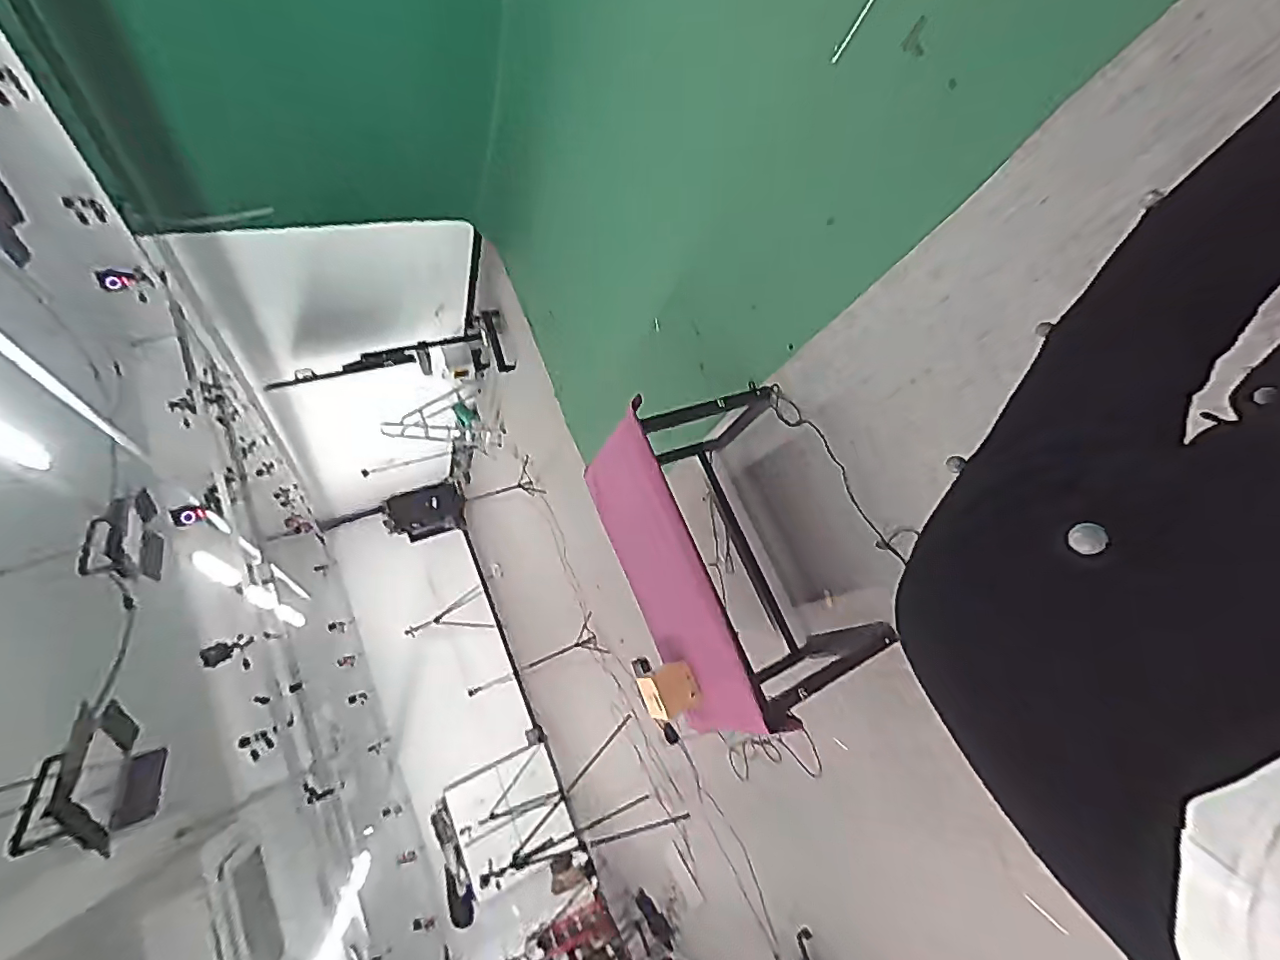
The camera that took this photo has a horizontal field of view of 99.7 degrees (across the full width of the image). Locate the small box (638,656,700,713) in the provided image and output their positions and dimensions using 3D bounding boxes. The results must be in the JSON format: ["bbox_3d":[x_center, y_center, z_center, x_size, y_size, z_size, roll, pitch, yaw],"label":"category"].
[{"bbox_3d":[0.122,0.825,2.193,0.168,0.176,0.179,66,152,10],"label":"small box"}]
